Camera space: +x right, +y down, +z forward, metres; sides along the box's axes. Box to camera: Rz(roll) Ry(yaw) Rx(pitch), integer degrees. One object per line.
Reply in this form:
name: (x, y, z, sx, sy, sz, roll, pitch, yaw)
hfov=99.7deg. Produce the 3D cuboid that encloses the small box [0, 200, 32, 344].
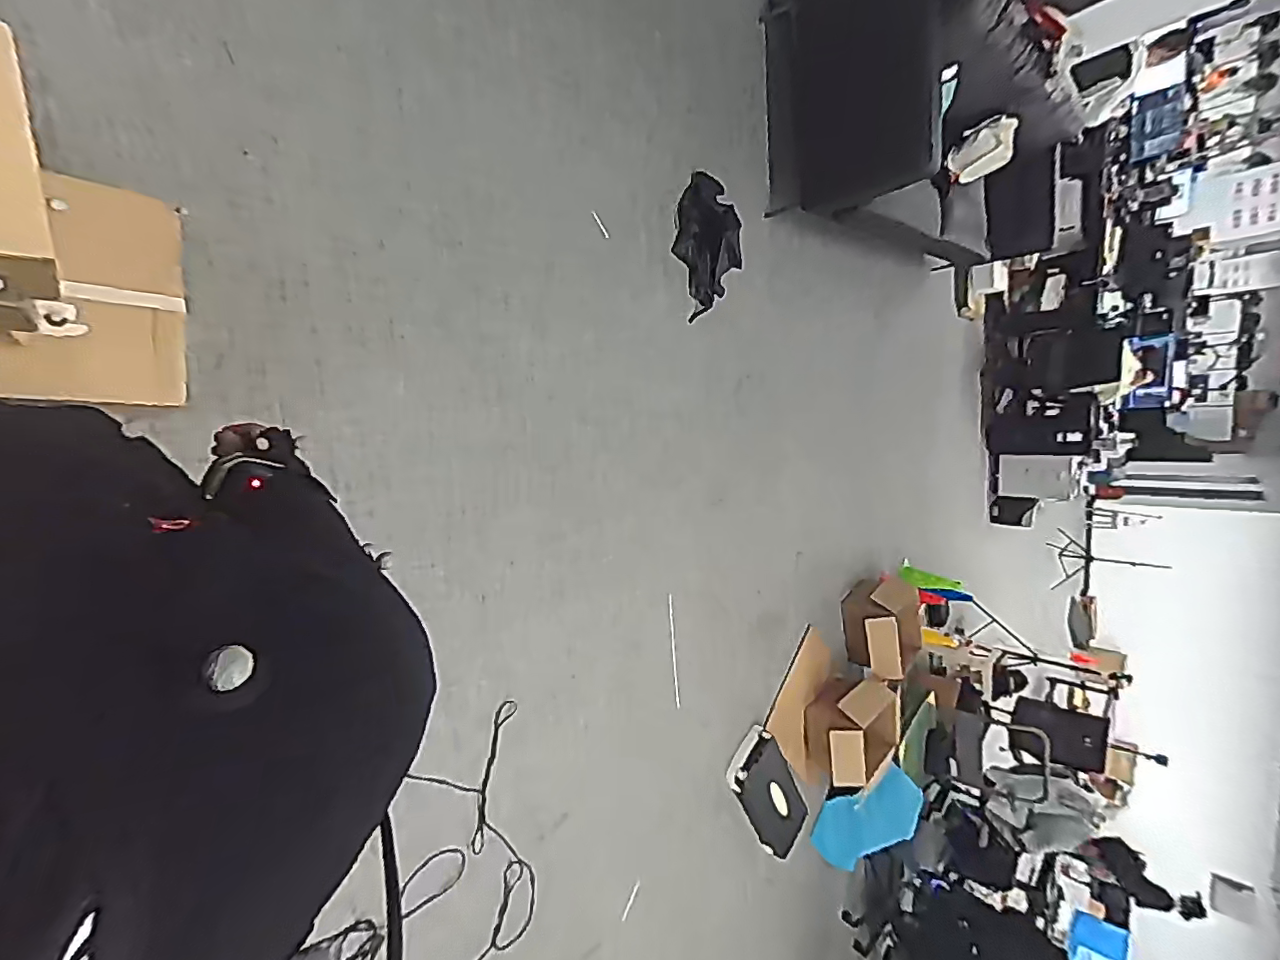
small box: (-0.819, -0.258, 0.599, 0.179, 0.176, 0.168, 5, 88, -45)

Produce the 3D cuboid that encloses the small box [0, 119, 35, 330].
small box: (-0.692, -0.243, 0.498, 0.168, 0.176, 0.179, -7, 96, -46)

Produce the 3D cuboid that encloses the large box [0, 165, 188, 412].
large box: (-0.958, -0.267, 0.801, 0.408, 0.320, 0.320, -3, 95, -46)
